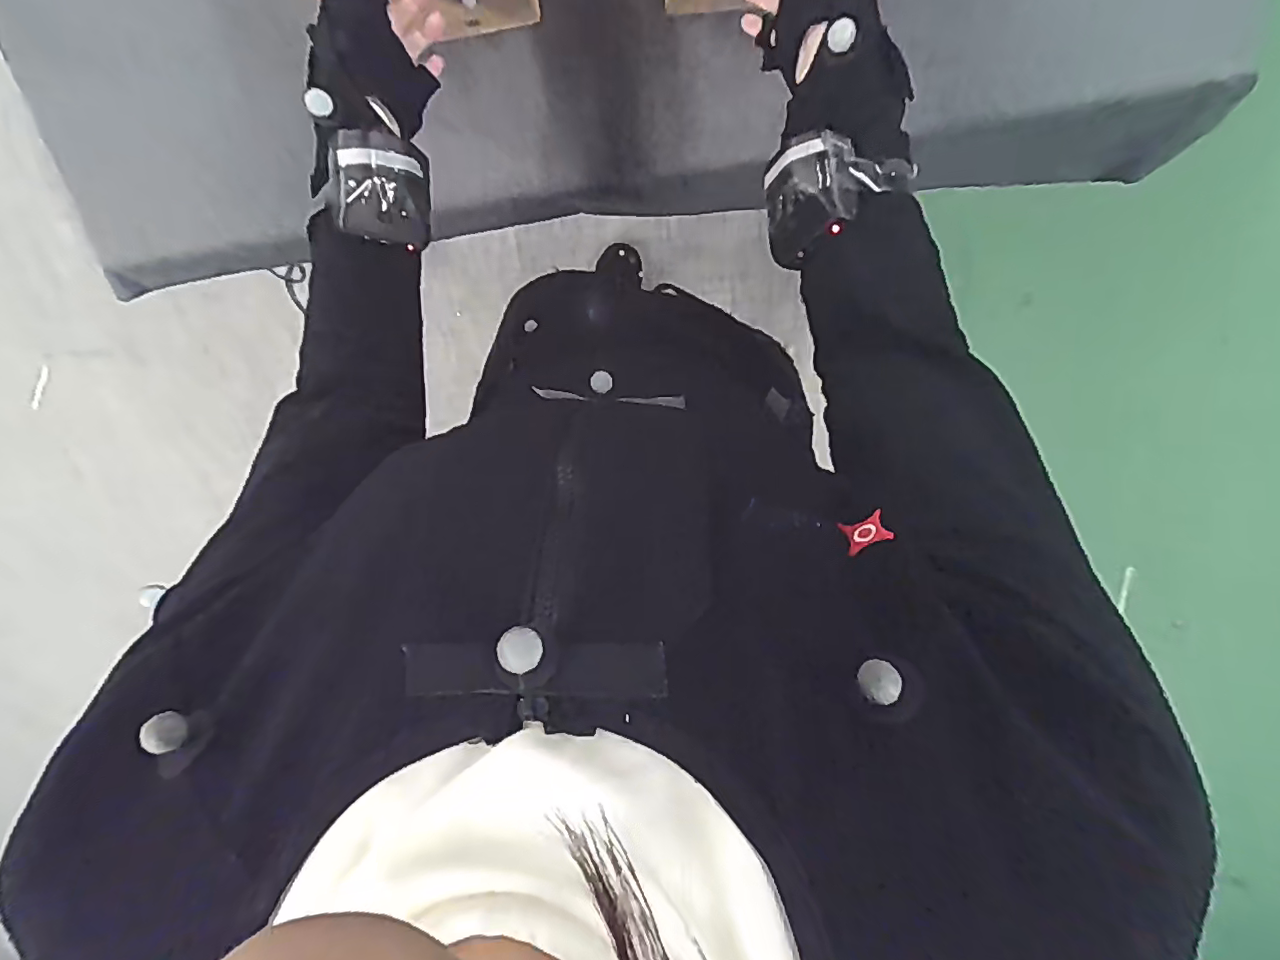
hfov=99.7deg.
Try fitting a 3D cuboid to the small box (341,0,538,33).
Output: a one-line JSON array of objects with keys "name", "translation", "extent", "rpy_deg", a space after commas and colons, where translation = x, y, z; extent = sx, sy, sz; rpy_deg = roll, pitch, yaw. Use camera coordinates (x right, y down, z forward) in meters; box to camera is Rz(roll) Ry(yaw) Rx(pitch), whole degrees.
[{"name": "small box", "translation": [-0.186, -0.489, 0.421], "extent": [0.168, 0.176, 0.179], "rpy_deg": [-8, 110, 4]}]
